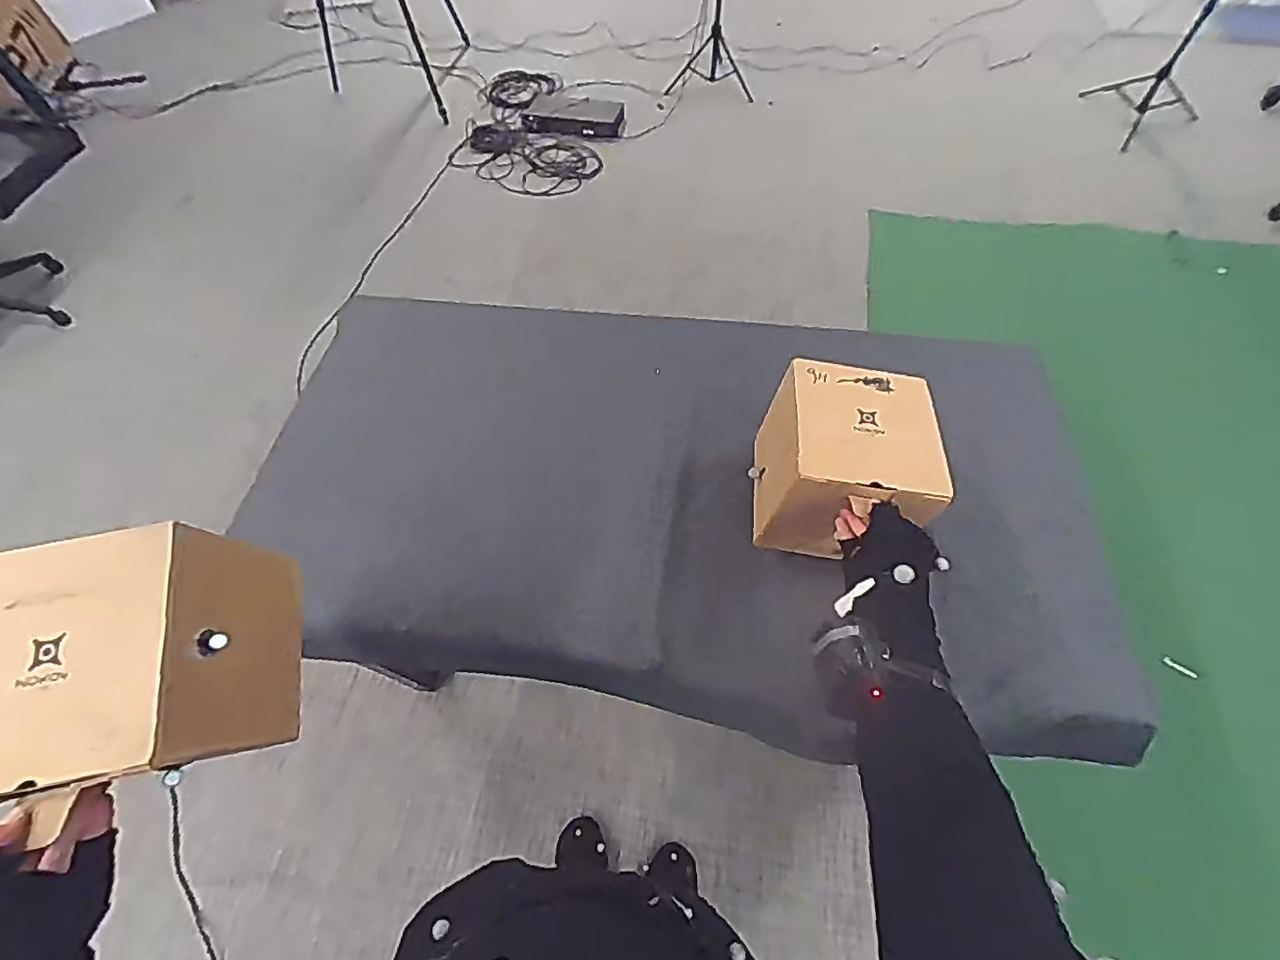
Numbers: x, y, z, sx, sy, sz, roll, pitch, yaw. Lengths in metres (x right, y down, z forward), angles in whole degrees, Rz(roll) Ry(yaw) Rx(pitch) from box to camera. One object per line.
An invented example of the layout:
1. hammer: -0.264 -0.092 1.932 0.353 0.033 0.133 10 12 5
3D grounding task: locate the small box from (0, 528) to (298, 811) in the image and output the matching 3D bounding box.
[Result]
1. small box: -0.417 0.157 0.453 0.168 0.176 0.179 -11 70 -4

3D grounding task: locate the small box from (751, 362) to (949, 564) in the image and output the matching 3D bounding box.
1. small box: 0.241 -0.013 0.666 0.168 0.176 0.179 9 58 -2
